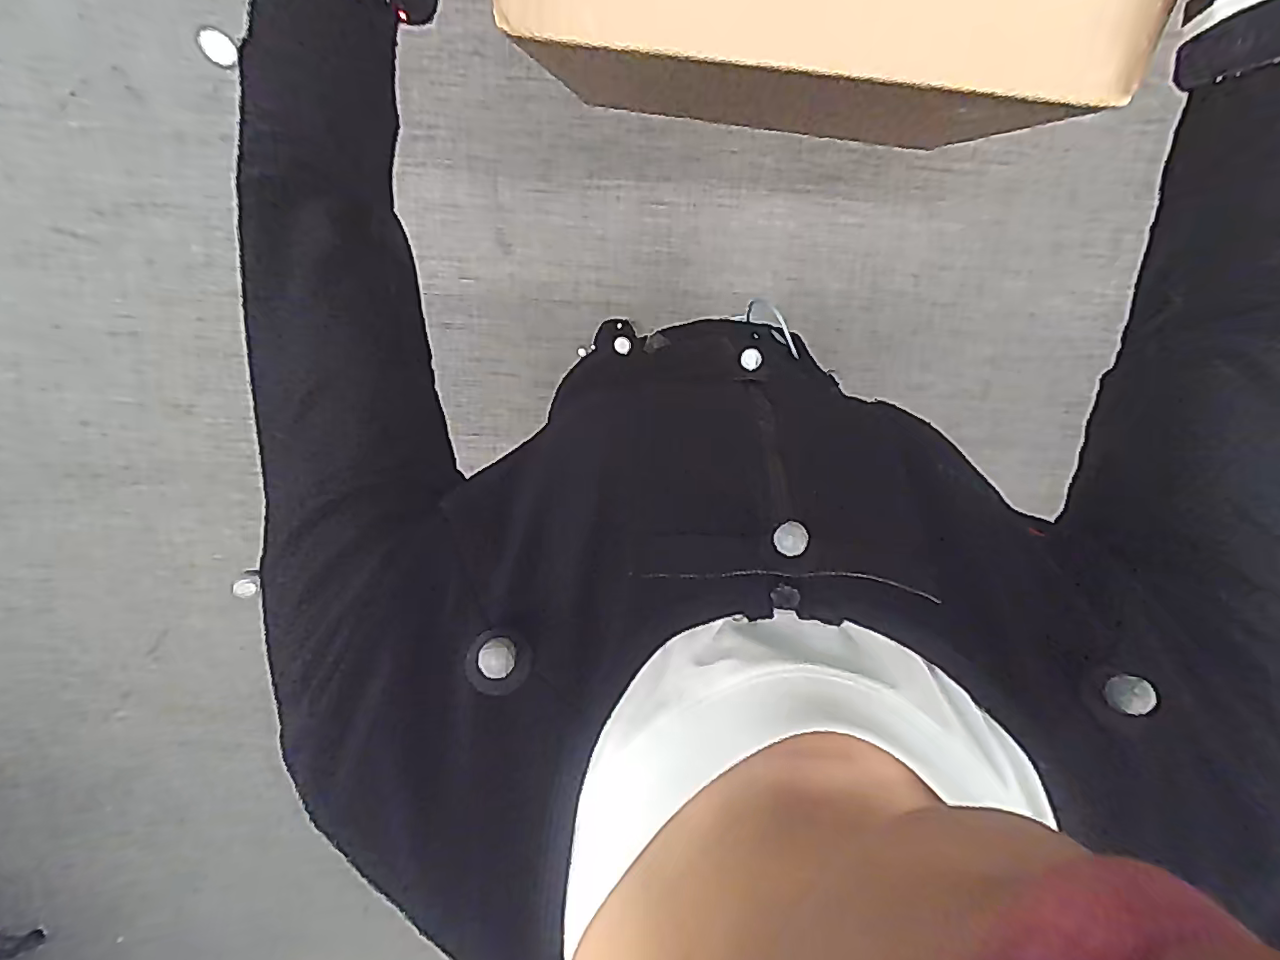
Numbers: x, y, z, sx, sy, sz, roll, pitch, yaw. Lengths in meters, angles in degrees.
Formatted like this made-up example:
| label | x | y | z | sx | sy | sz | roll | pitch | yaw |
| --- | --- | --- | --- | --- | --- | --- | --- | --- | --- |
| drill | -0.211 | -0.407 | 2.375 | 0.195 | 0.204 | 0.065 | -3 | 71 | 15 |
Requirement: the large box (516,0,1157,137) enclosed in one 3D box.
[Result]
| label | x | y | z | sx | sy | sz | roll | pitch | yaw |
| --- | --- | --- | --- | --- | --- | --- | --- | --- | --- |
| large box | 0.136 | -0.477 | 0.413 | 0.408 | 0.320 | 0.320 | 7 | 118 | 0 |
